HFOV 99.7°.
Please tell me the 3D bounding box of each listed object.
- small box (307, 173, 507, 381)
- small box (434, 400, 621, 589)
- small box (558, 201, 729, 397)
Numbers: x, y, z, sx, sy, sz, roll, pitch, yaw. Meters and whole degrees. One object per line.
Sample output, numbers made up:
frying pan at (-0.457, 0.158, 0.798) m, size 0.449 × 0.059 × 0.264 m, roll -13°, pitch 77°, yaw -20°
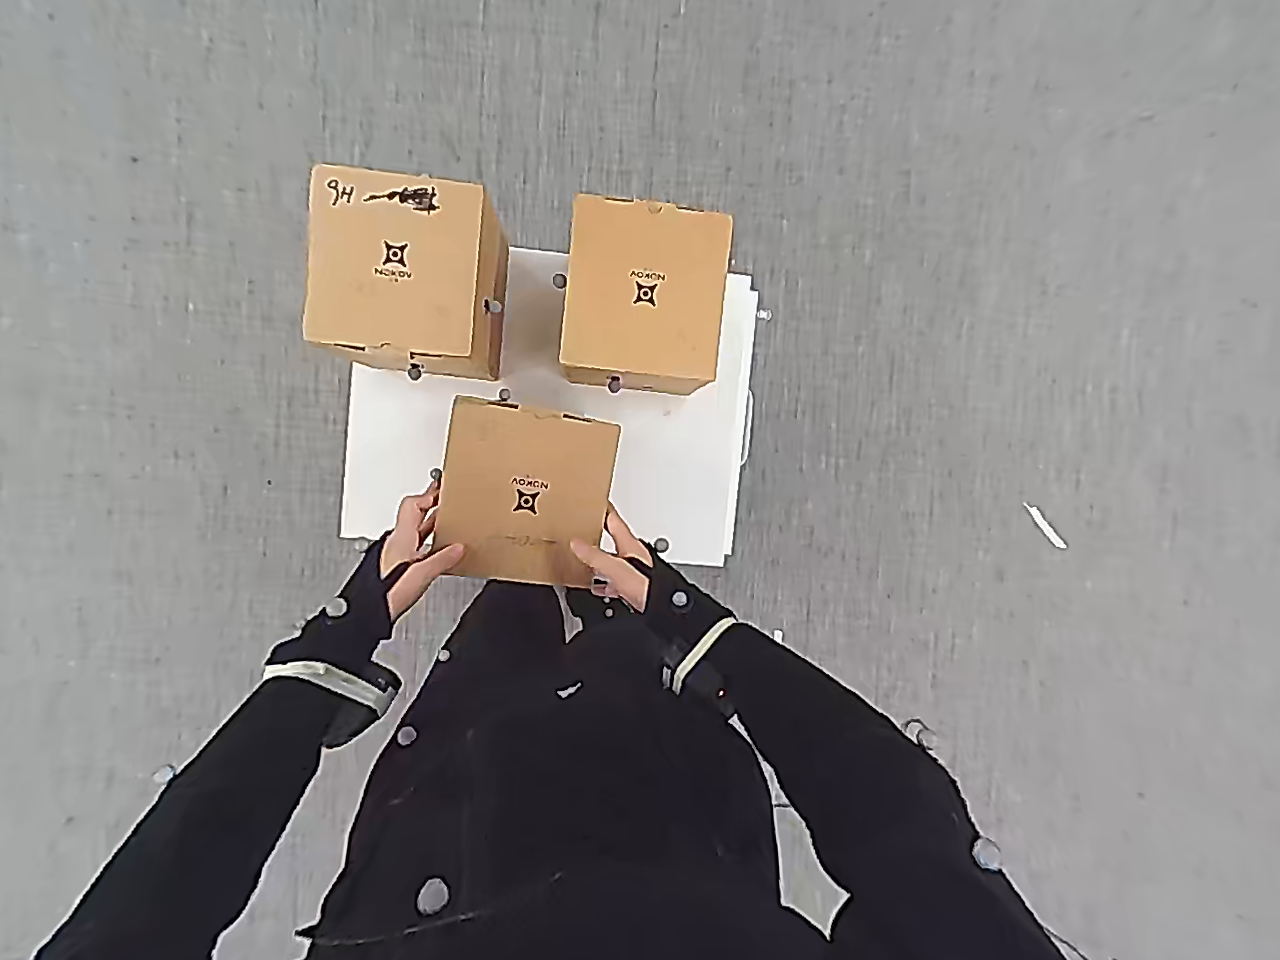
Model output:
small box at (-0.250, -0.213, 0.619) m, size 0.168 × 0.176 × 0.179 m, roll 5°, pitch 94°, yaw -6°
small box at (-0.130, 0.009, 0.620) m, size 0.168 × 0.176 × 0.179 m, roll 8°, pitch 96°, yaw -14°
small box at (-0.001, -0.197, 0.640) m, size 0.168 × 0.176 × 0.179 m, roll 5°, pitch 92°, yaw -4°
